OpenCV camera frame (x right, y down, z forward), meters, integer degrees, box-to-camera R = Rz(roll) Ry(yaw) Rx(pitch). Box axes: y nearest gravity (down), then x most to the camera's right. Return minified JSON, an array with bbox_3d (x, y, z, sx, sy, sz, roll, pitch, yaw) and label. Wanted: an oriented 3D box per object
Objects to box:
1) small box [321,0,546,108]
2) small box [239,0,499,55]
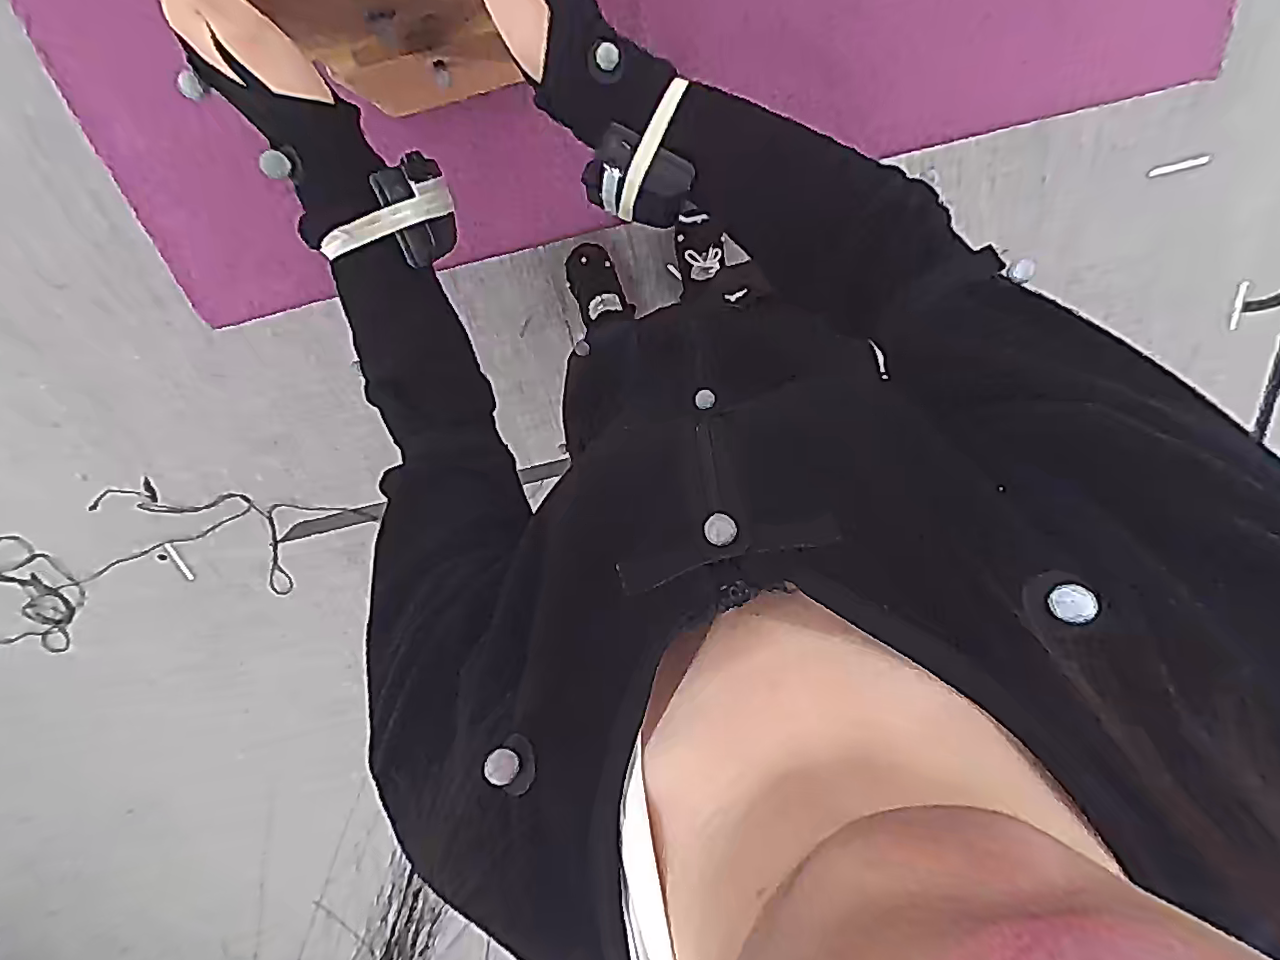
[{"bbox_3d":[-0.185,-0.440,0.453,0.179,0.176,0.168,-15,116,1],"label":"small box"},{"bbox_3d":[-0.187,-0.379,0.298,0.168,0.176,0.179,-15,117,0],"label":"small box"}]
